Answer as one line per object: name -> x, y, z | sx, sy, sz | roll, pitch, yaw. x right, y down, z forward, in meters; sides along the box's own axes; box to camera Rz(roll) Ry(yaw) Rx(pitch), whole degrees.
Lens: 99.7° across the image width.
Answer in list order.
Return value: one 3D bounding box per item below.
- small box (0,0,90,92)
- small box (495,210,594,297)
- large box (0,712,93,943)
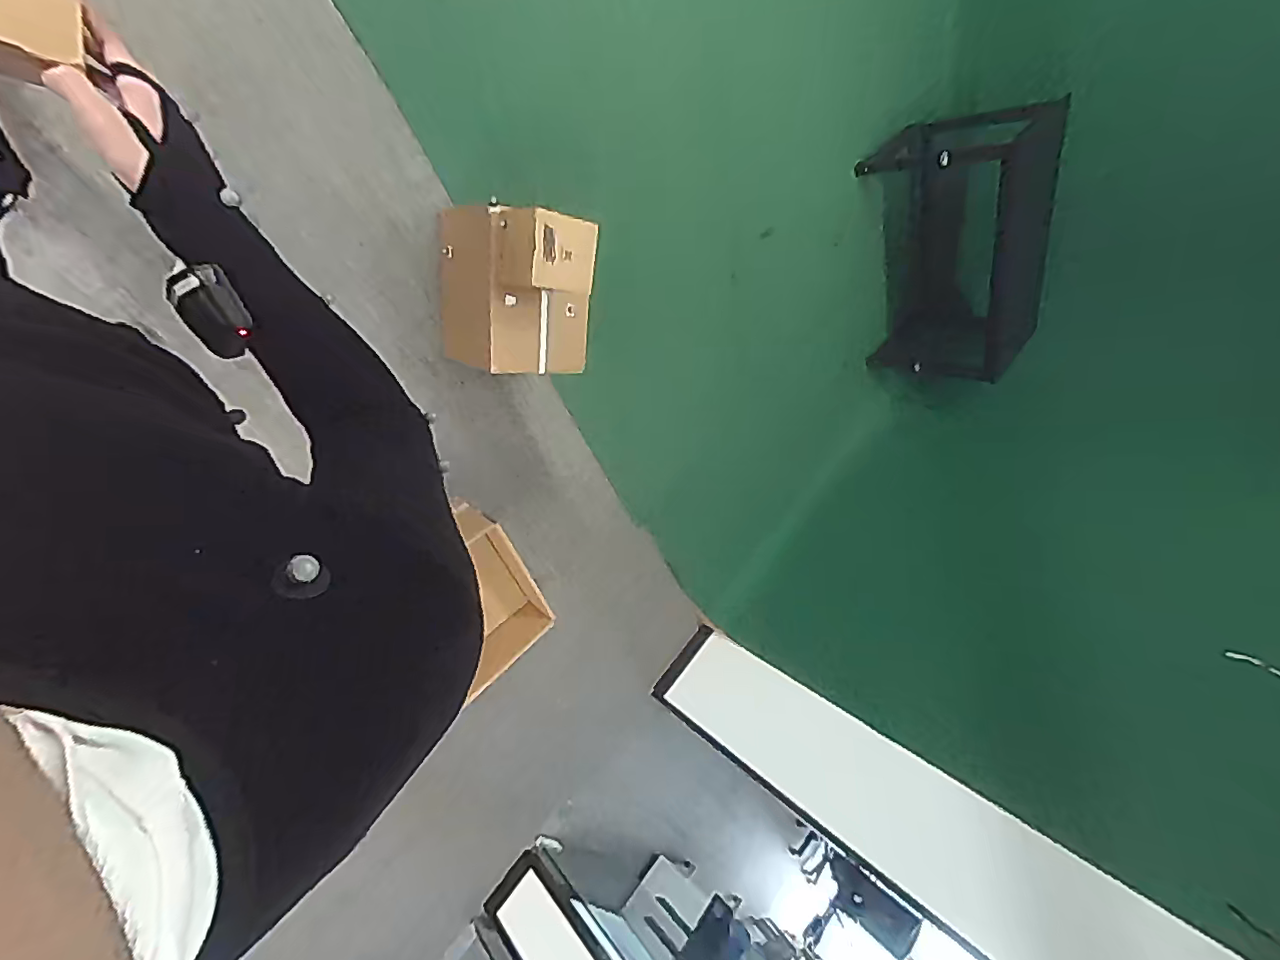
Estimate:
small box -> -0.513, -0.417, 0.384 | 0.168, 0.176, 0.179 | -3, 111, -45
small box -> -0.238, -0.552, 1.329 | 0.179, 0.176, 0.168 | -8, 113, -43
large box -> -1.424, 0.763, 1.070 | 0.408, 0.320, 0.320 | -26, 124, -37
